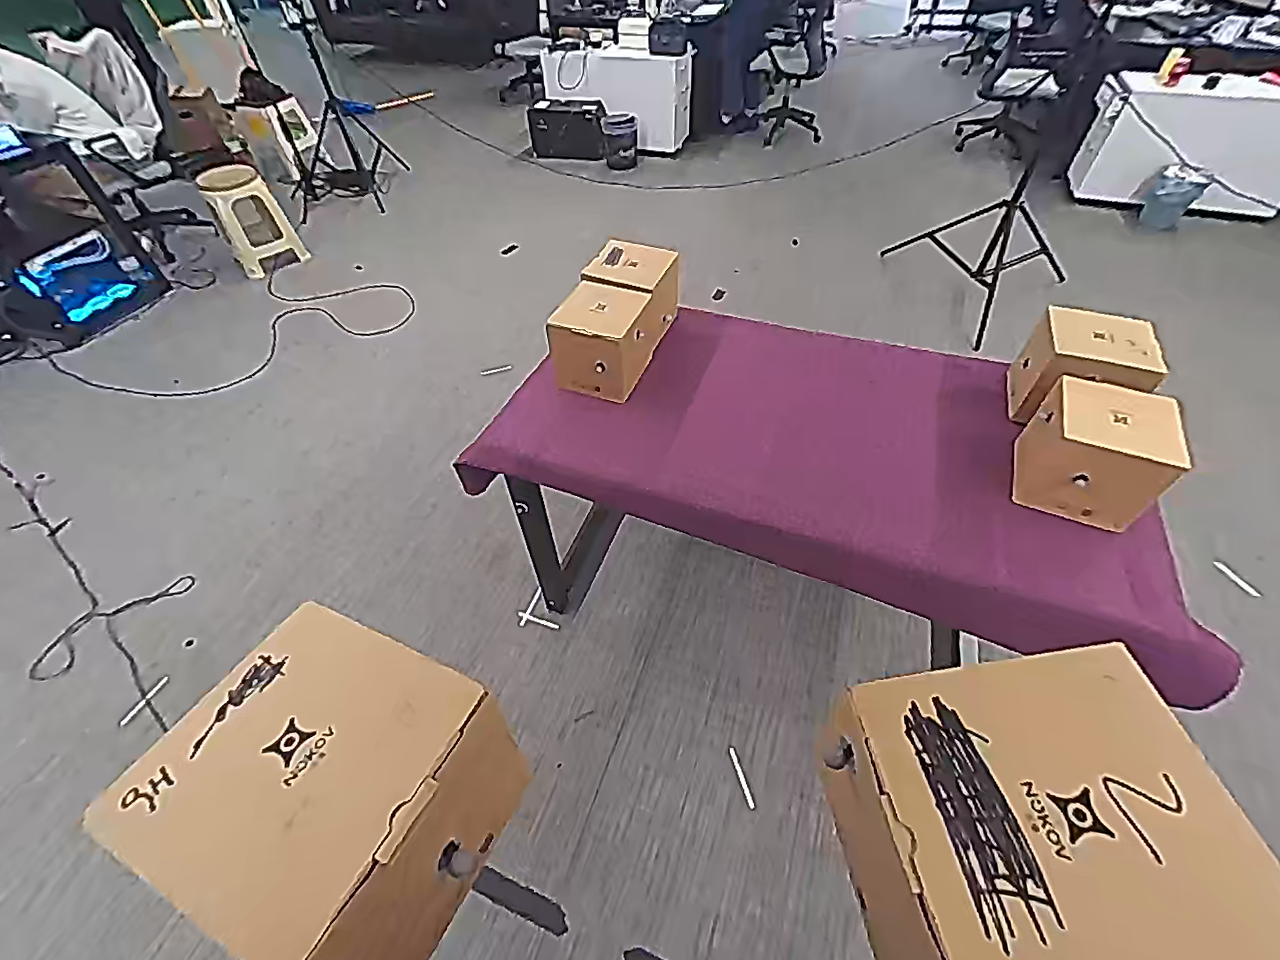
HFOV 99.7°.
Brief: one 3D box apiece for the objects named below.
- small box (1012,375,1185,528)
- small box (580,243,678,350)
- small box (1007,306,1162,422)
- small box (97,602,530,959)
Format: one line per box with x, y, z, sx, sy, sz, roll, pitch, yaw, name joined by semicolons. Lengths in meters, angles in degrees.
0.766;-0.046;0.925;0.168;0.176;0.179;19;51;18;small box
-0.022;-0.430;1.277;0.179;0.176;0.168;18;54;15;small box
0.846;-0.210;1.055;0.179;0.176;0.168;17;53;15;small box
-0.201;0.226;0.391;0.179;0.176;0.168;18;47;19;small box
